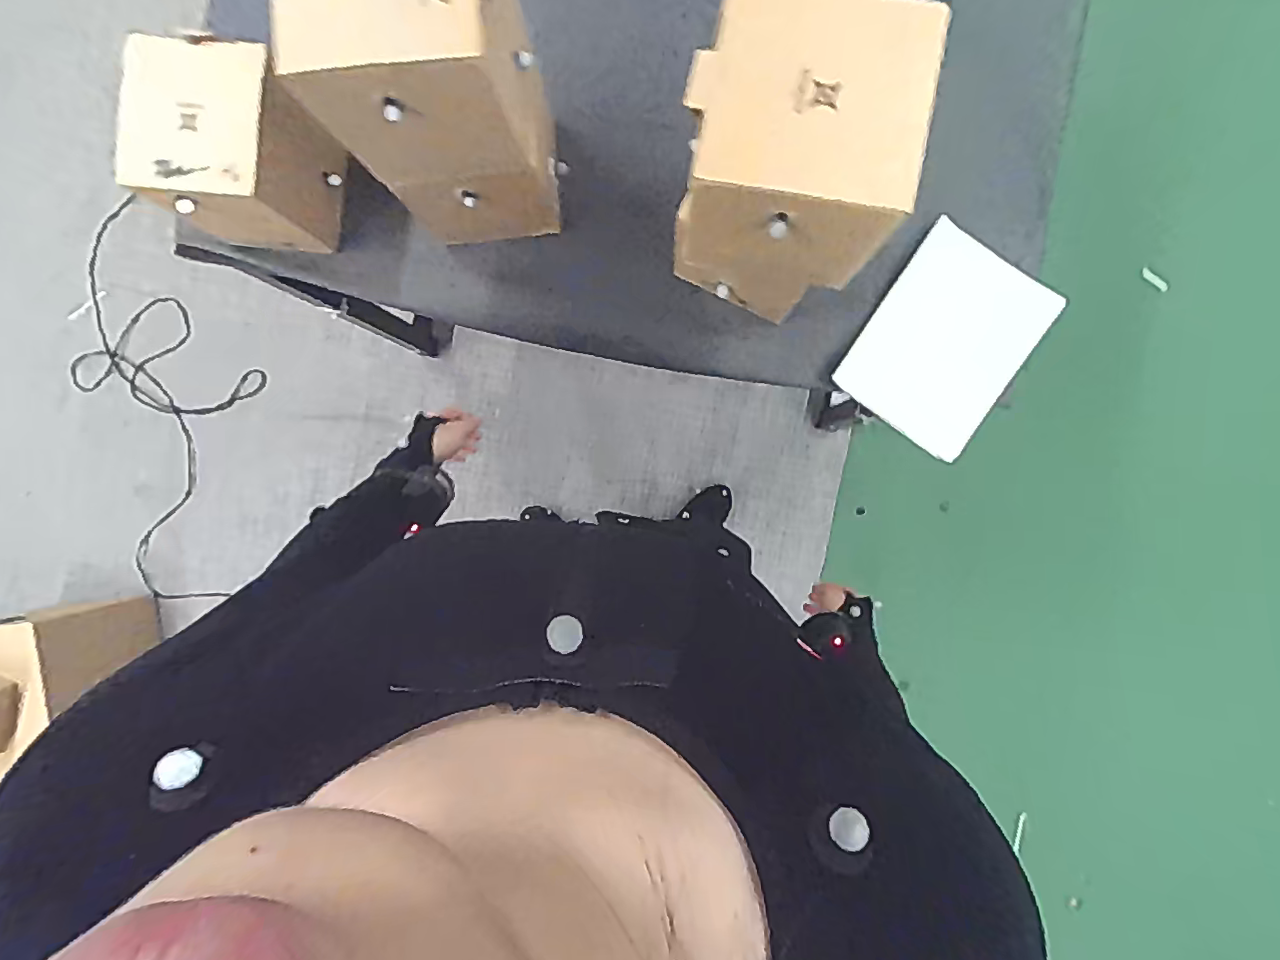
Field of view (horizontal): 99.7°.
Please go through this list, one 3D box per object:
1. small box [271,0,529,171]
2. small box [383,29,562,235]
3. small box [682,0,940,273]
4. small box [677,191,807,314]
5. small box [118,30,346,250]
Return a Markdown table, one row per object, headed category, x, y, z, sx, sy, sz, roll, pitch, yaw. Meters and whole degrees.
| category | x | y | z | sx | sy | sz | roll | pitch | yaw |
| --- | --- | --- | --- | --- | --- | --- | --- | --- | --- |
| small box | -0.218 | -0.426 | 0.525 | 0.179 | 0.176 | 0.168 | -3 | 91 | 3 |
| small box | -0.208 | -0.432 | 0.689 | 0.179 | 0.176 | 0.168 | -6 | 91 | 3 |
| small box | 0.140 | -0.311 | 0.507 | 0.179 | 0.176 | 0.168 | 10 | 90 | 4 |
| small box | 0.152 | -0.336 | 0.668 | 0.168 | 0.176 | 0.179 | 27 | 92 | 3 |
| small box | -0.511 | -0.426 | 0.703 | 0.168 | 0.176 | 0.179 | 6 | 91 | 2 |
